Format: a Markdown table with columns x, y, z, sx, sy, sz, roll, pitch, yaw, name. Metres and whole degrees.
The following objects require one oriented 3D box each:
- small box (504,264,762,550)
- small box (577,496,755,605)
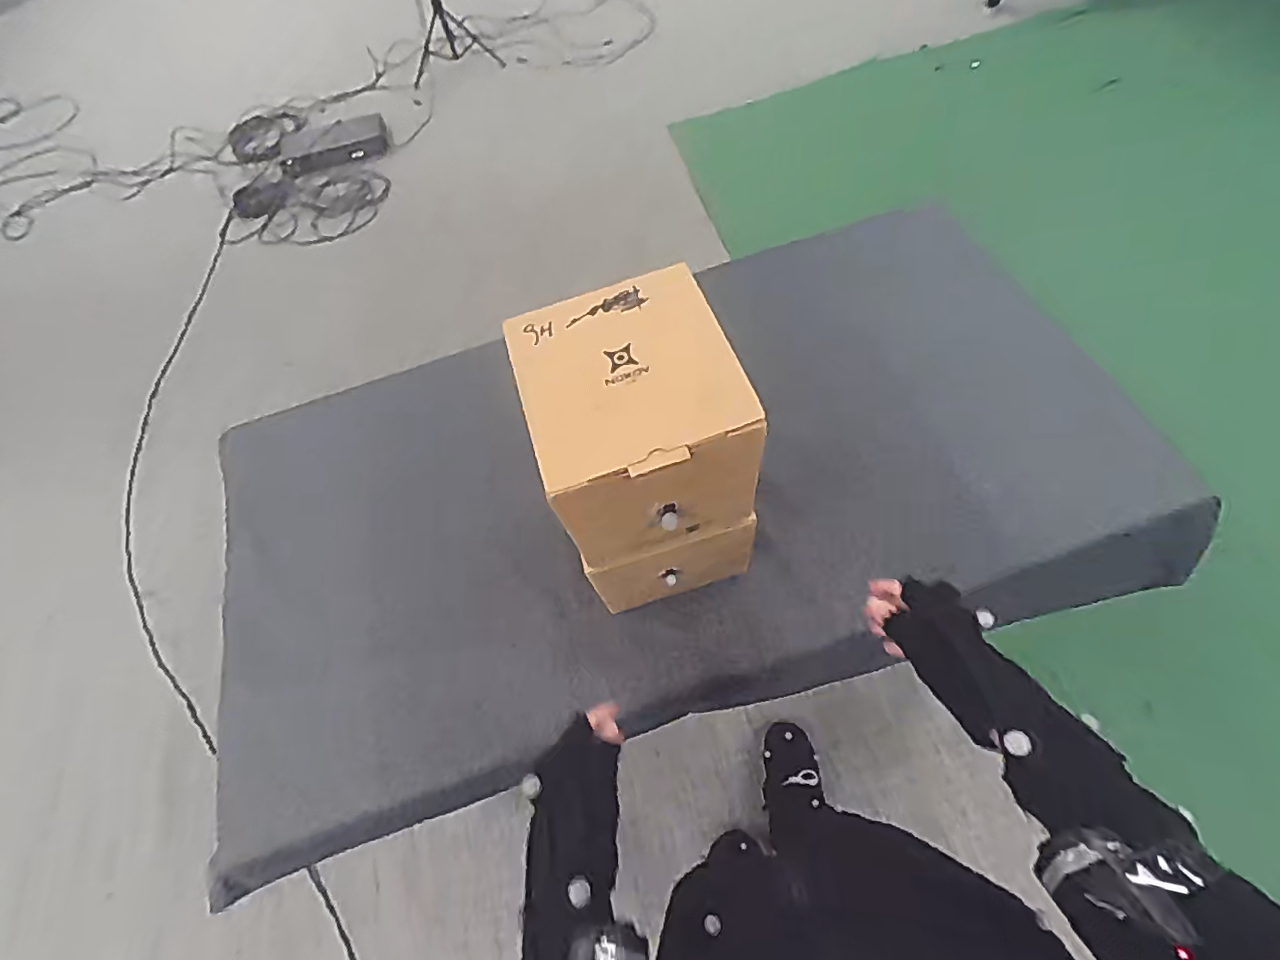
| x | y | z | sx | sy | sz | roll | pitch | yaw | name |
| --- | --- | --- | --- | --- | --- | --- | --- | --- | --- |
| -0.003 | -0.051 | 0.487 | 0.168 | 0.176 | 0.179 | -18 | 63 | -2 | small box |
| 0.017 | 0.029 | 0.628 | 0.179 | 0.176 | 0.168 | -18 | 63 | -1 | small box |
